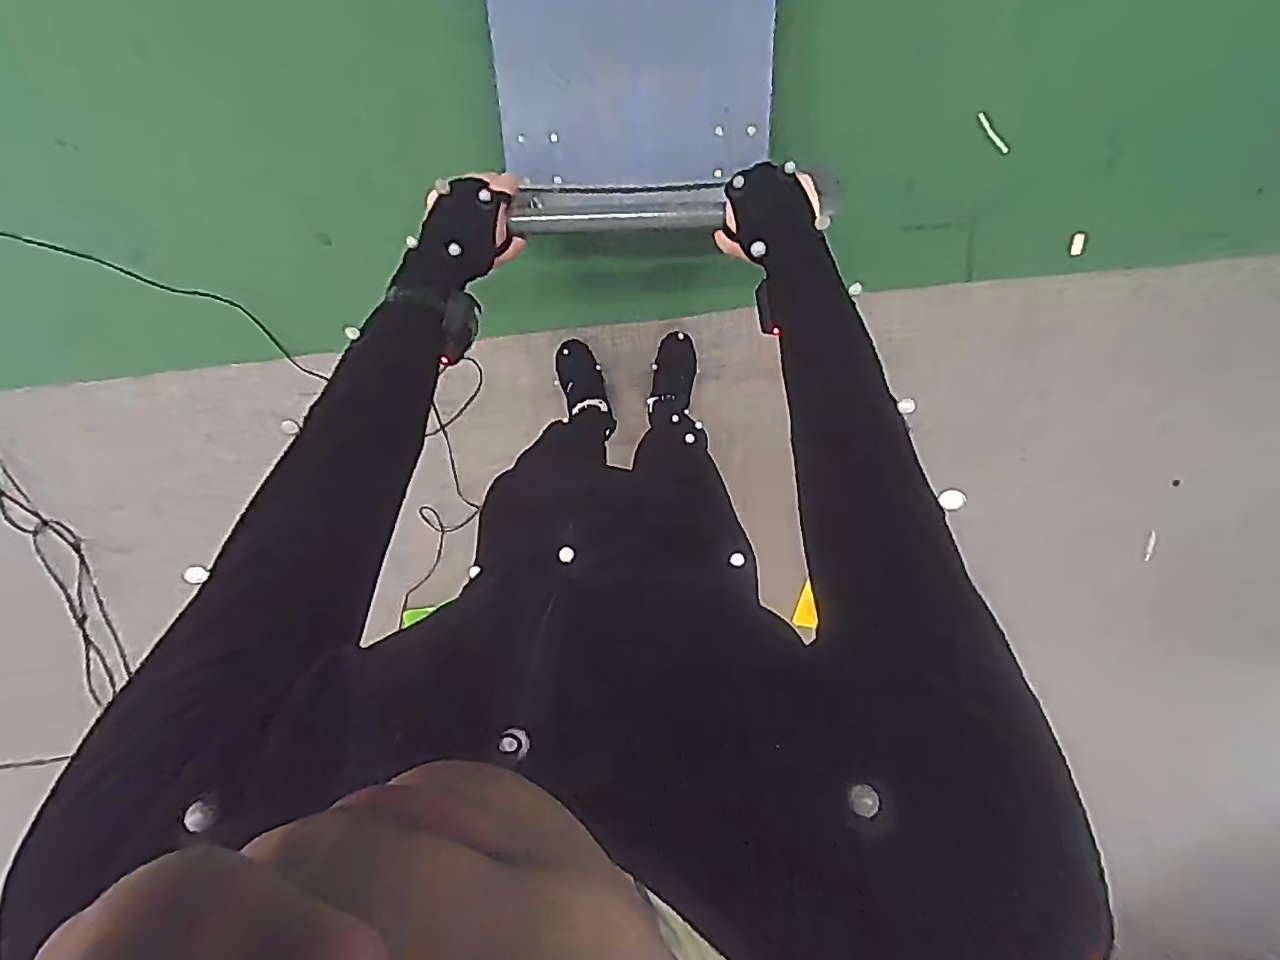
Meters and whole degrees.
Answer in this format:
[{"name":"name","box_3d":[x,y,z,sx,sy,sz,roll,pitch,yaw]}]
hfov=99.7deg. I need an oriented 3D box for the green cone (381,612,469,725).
[{"name":"green cone","box_3d":[-0.702,0.604,1.683,0.202,0.368,0.200,-8,112,5]}]
